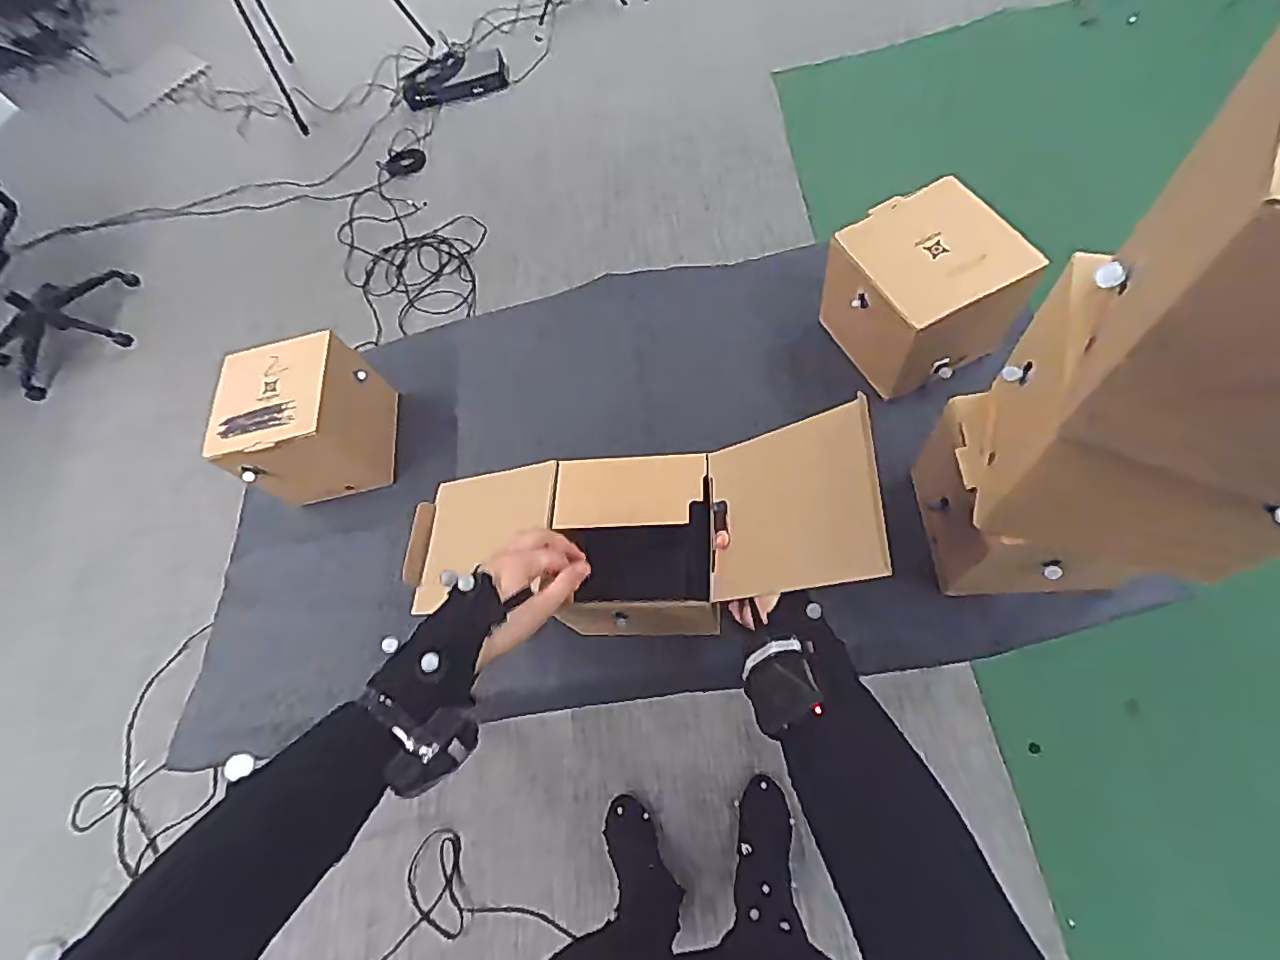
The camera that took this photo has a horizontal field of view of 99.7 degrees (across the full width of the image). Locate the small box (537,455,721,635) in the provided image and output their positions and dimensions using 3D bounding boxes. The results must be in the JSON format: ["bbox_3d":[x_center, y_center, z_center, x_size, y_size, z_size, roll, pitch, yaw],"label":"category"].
[{"bbox_3d":[0.000,0.083,0.627,0.179,0.176,0.168,-2,66,11],"label":"small box"}]

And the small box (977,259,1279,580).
[{"bbox_3d":[0.390,-0.039,0.418,0.179,0.176,0.168,15,67,18],"label":"small box"}]

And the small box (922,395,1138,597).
[{"bbox_3d":[0.416,0.020,0.568,0.179,0.176,0.168,-5,62,10],"label":"small box"}]

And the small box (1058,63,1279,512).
[{"bbox_3d":[0.359,-0.092,0.263,0.179,0.176,0.168,25,70,23],"label":"small box"}]

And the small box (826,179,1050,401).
[{"bbox_3d":[0.360,-0.236,0.700,0.168,0.176,0.179,-26,65,2],"label":"small box"}]
